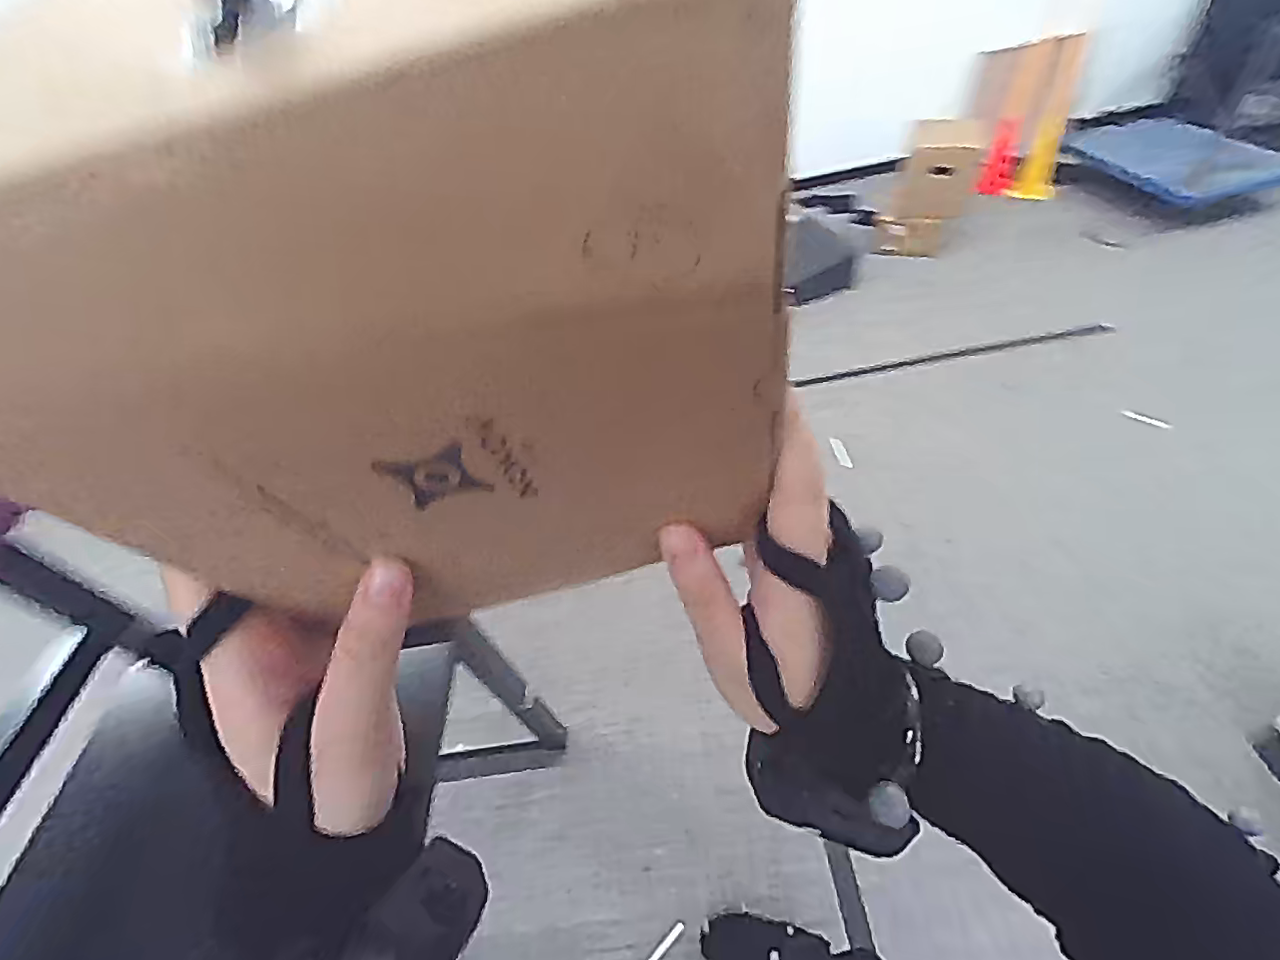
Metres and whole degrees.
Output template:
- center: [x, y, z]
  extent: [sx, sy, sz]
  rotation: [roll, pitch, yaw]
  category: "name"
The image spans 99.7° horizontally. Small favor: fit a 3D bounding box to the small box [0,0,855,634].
- center: [-0.054, -0.069, 0.185]
  extent: [0.179, 0.168, 0.176]
  rotation: [-14, 55, 4]
  category: "small box"
